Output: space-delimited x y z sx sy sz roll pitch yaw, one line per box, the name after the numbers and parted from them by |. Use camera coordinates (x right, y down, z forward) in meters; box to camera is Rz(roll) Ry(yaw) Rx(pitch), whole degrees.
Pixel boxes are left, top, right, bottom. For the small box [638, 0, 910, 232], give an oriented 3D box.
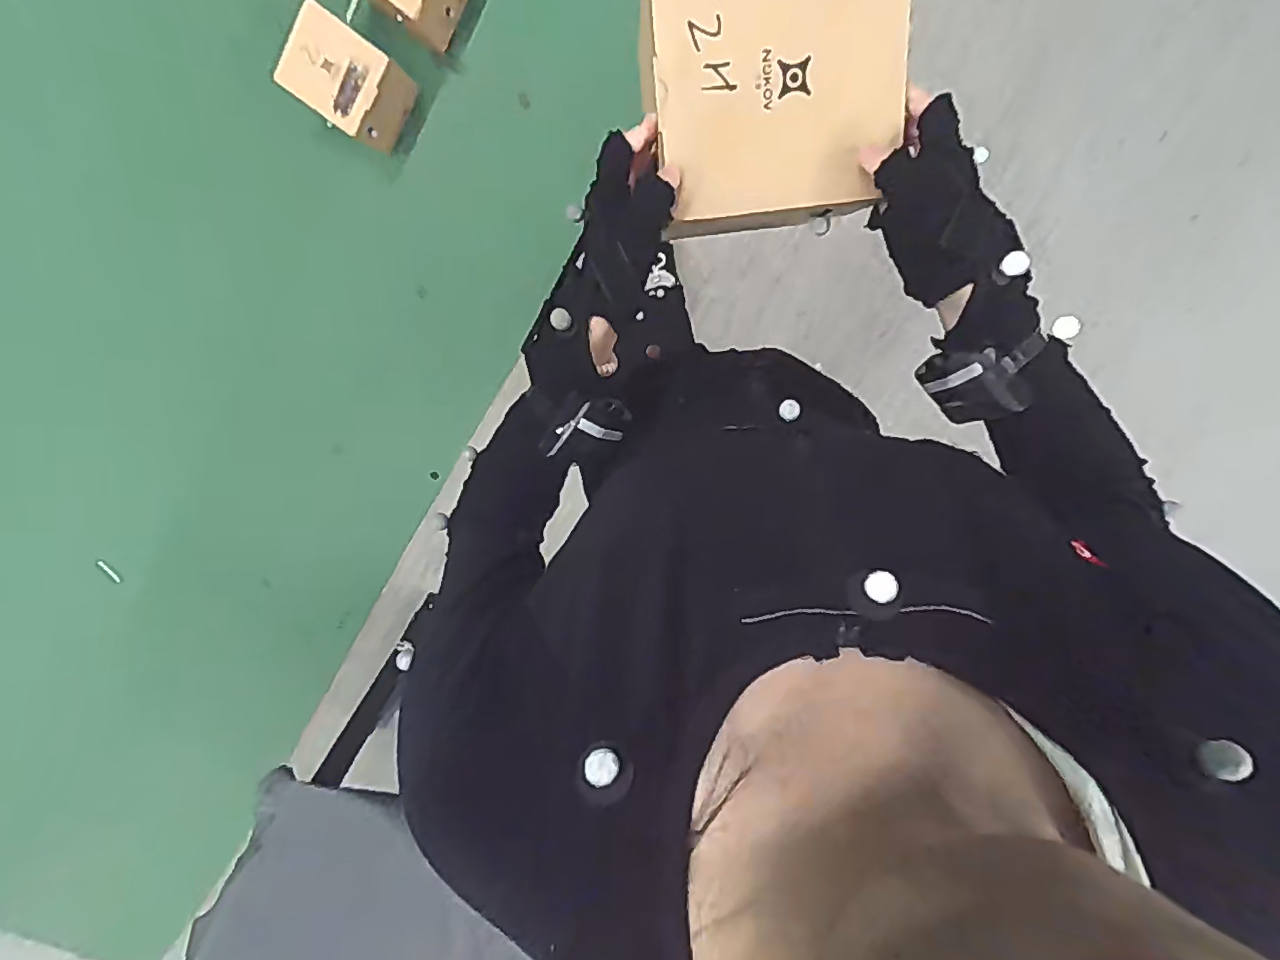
0.094 -0.307 0.446 0.179 0.176 0.168 -6 110 1 | small box

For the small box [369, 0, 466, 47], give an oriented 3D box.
-0.461 -1.014 1.067 0.179 0.176 0.168 31 105 -13 | small box
